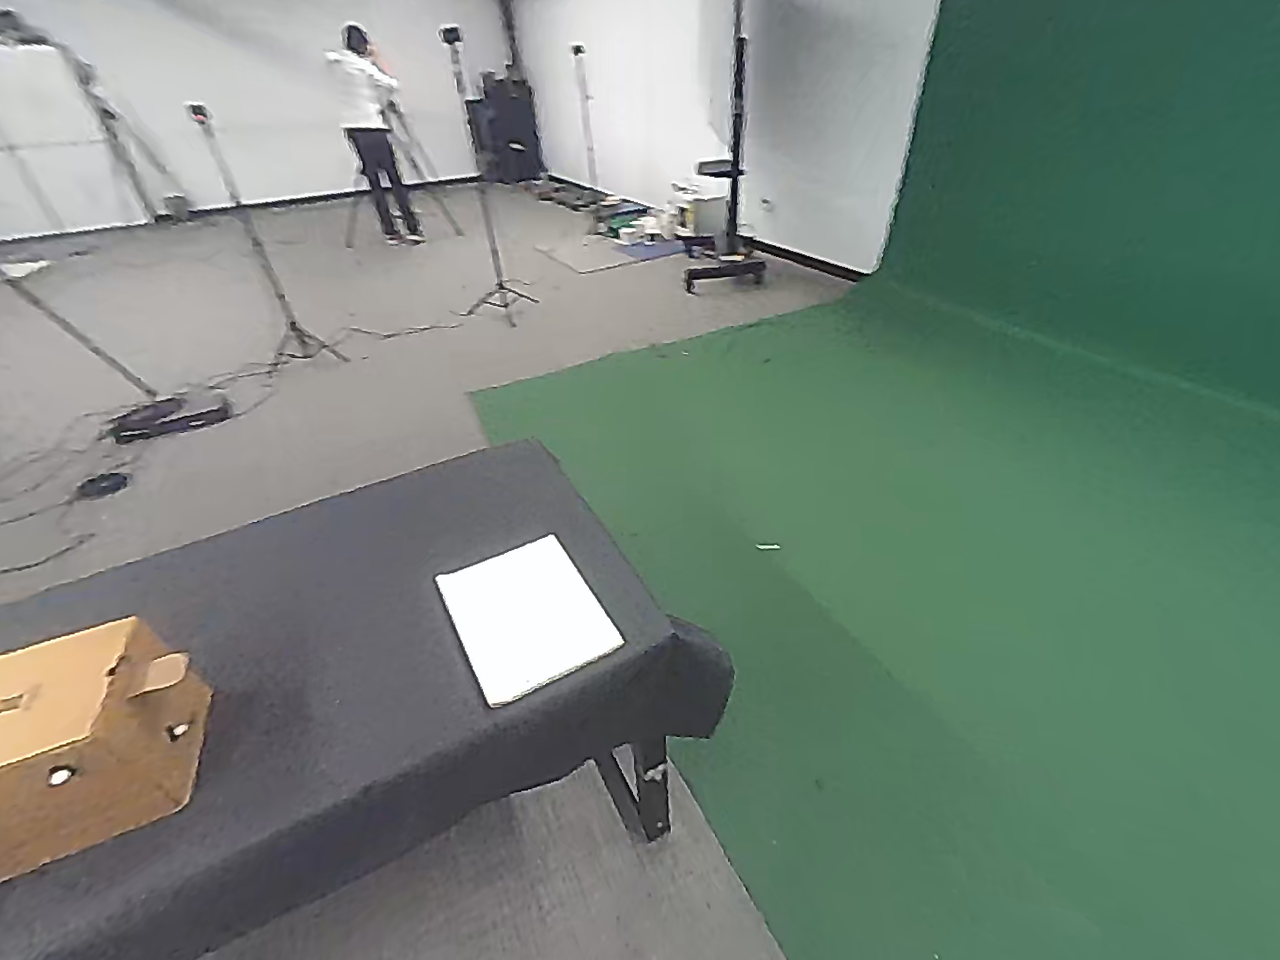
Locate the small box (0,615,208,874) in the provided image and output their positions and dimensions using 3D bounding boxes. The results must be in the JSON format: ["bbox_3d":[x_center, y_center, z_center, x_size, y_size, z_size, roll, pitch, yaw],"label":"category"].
[{"bbox_3d":[-0.635,0.291,0.602,0.179,0.176,0.168,-17,39,-19],"label":"small box"}]
